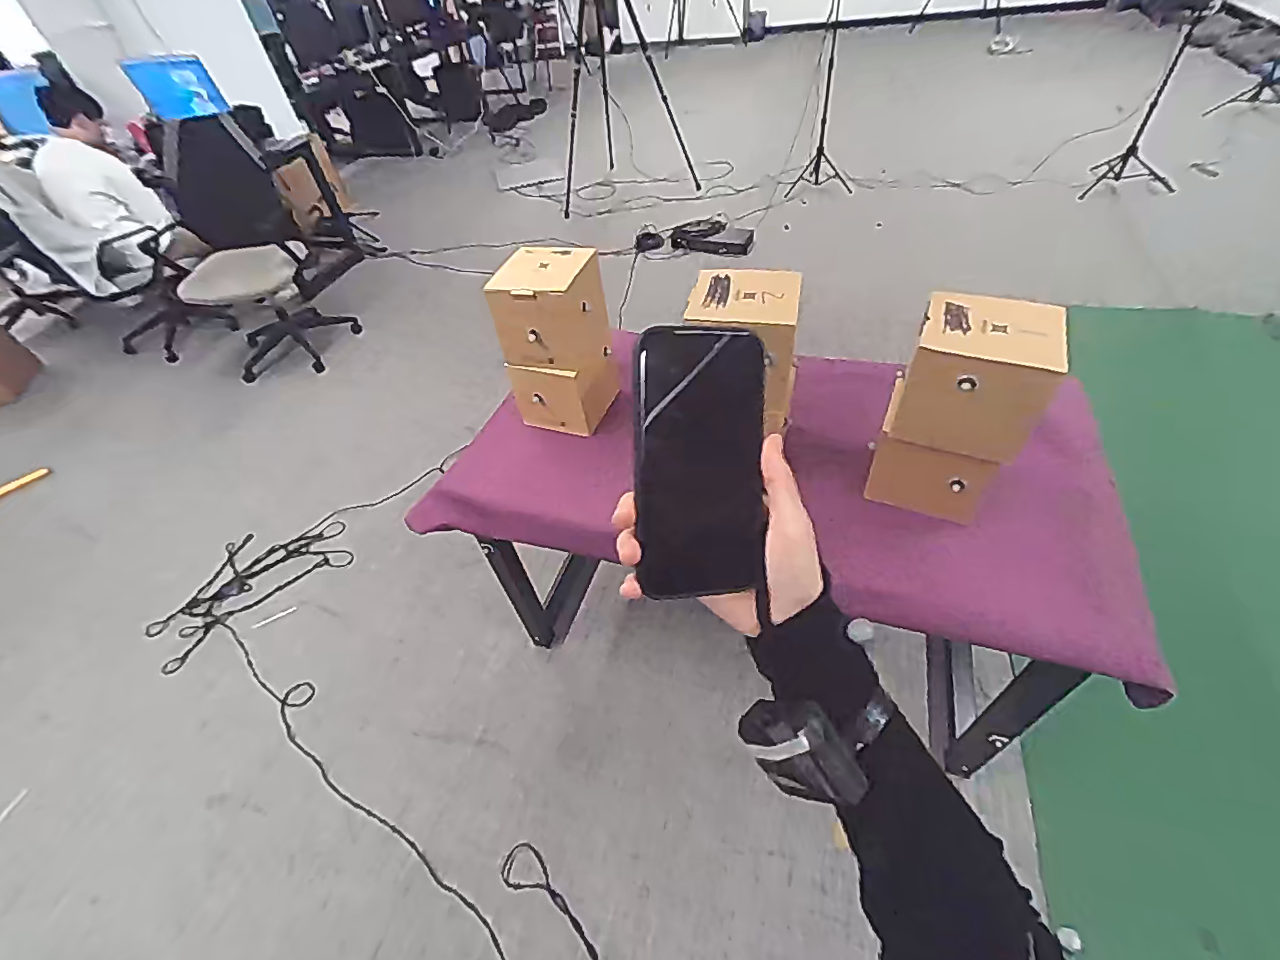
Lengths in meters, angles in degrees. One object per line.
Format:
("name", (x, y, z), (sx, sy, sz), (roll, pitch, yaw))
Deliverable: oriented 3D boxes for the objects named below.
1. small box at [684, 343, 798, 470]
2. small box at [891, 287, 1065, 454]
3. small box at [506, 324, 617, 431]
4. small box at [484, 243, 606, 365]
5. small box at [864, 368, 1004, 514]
("small box", (0.195, -0.140, 1.048), (0.179, 0.176, 0.168), (12, 50, 18))
("small box", (0.492, -0.162, 0.803), (0.179, 0.176, 0.168), (17, 52, 22))
("small box", (-0.161, -0.229, 1.184), (0.168, 0.176, 0.179), (12, 50, 19))
("small box", (-0.176, -0.346, 1.069), (0.168, 0.176, 0.179), (8, 50, 15))
("small box", (0.507, -0.064, 0.934), (0.179, 0.176, 0.168), (16, 52, 23))
